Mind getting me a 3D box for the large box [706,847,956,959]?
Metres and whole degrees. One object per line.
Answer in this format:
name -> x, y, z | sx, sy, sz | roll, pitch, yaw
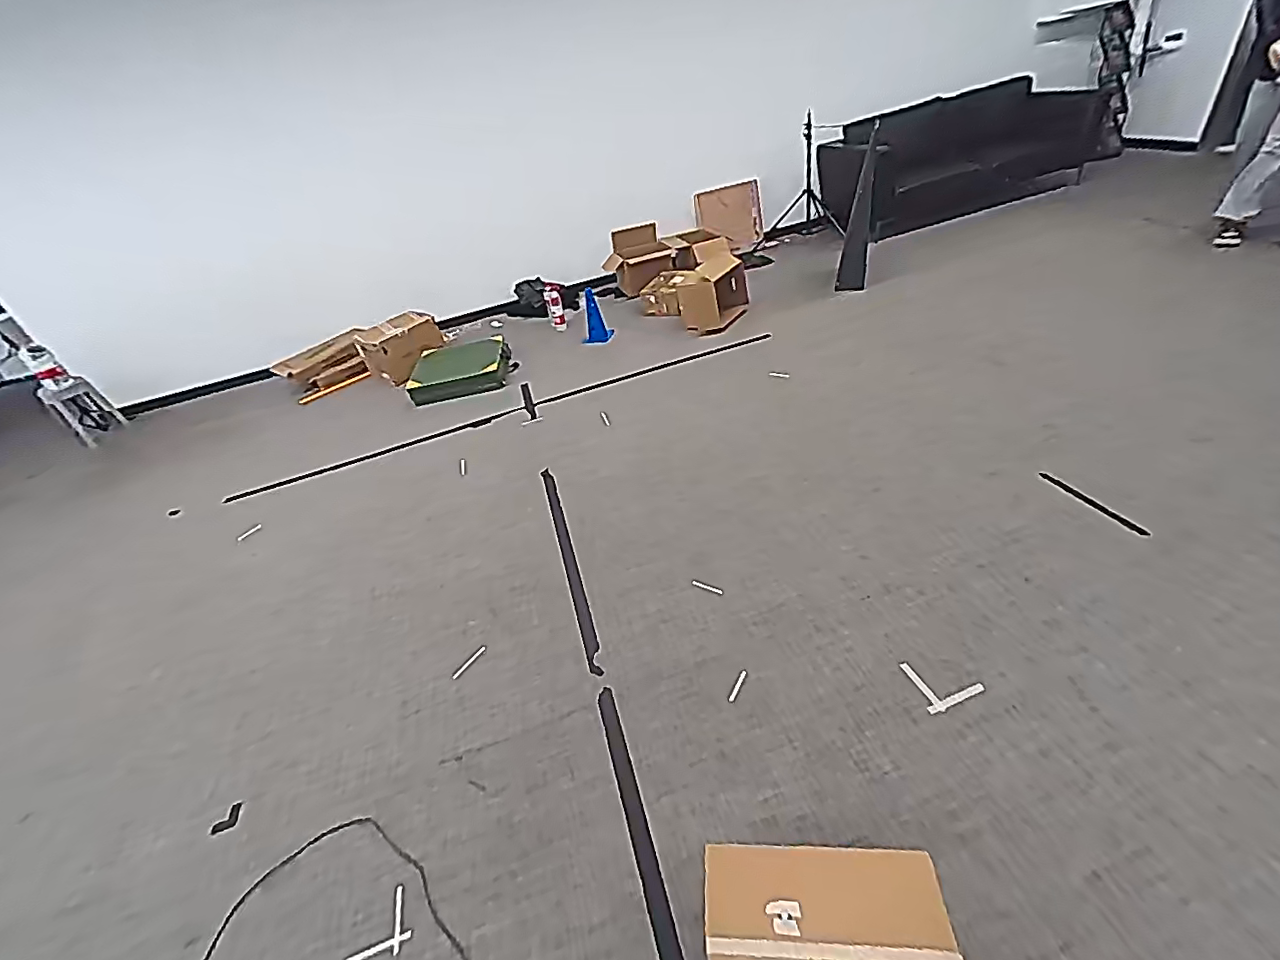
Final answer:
large box -> 0.342, 0.903, 0.986 | 0.408, 0.320, 0.320 | -6, 36, 10
